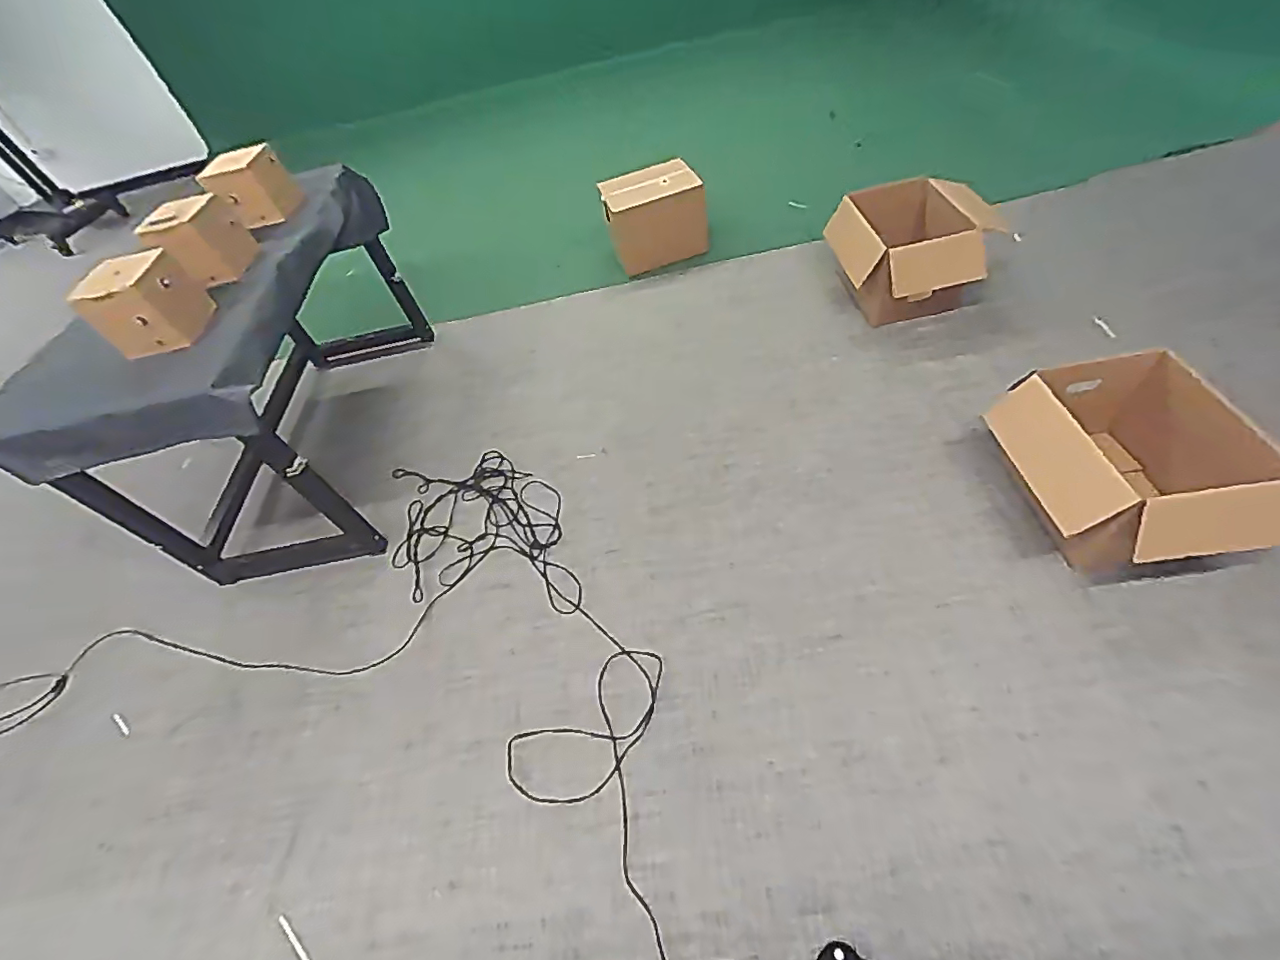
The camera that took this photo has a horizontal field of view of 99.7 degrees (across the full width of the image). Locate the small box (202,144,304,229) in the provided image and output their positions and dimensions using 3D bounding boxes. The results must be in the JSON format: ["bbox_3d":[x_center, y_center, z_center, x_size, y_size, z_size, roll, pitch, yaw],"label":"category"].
[{"bbox_3d":[-1.190,-0.905,1.682,0.168,0.176,0.179,-10,51,6],"label":"small box"}]

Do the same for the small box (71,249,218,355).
[{"bbox_3d":[-1.172,-0.418,1.299,0.168,0.176,0.179,-11,50,3],"label":"small box"}]
